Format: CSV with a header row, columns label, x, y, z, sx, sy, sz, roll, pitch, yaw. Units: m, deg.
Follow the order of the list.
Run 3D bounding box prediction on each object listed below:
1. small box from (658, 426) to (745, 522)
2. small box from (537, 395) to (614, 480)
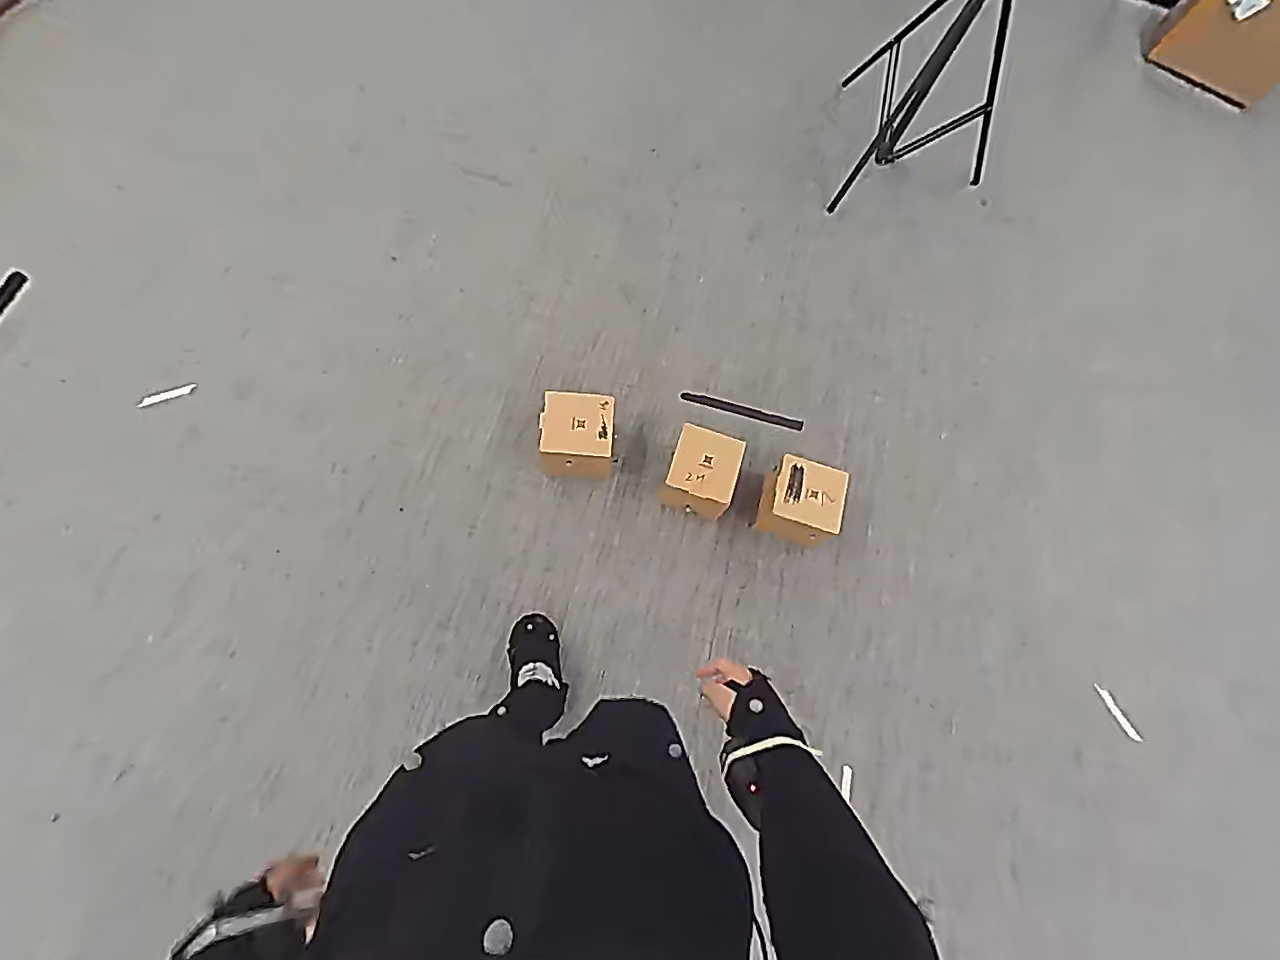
label,x,y,z,sx,sy,sz,roll,pitch,yaw
small box,0.153,-0.009,1.401,0.168,0.176,0.179,18,72,1
small box,-0.162,-0.104,1.400,0.179,0.176,0.168,4,72,-4
